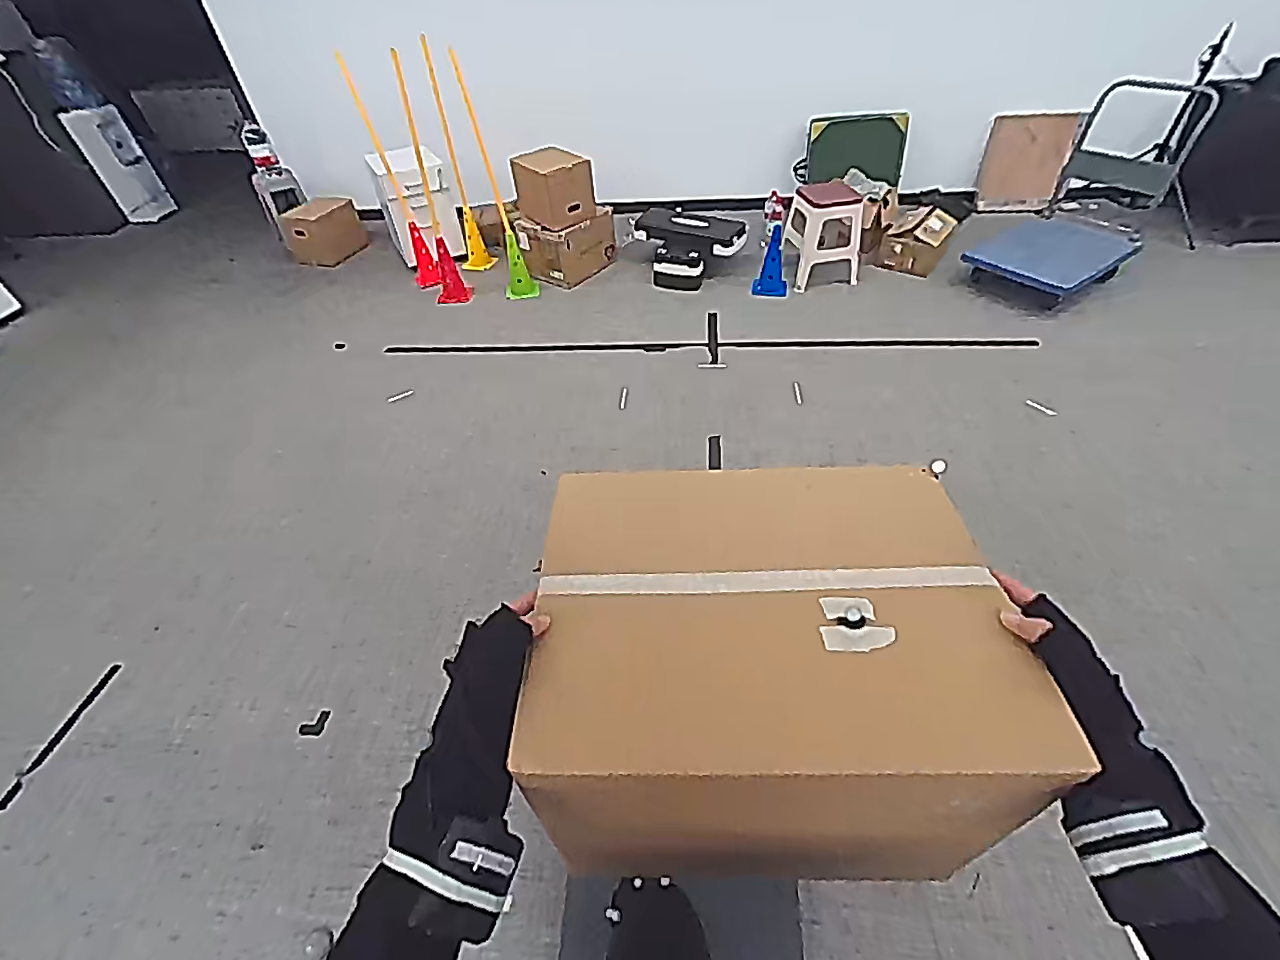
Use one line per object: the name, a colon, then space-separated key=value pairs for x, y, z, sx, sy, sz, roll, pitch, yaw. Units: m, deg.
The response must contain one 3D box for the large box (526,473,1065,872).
large box: x=0.118 y=0.212 z=0.603 sx=0.408 sy=0.320 sz=0.320 roll=-2 pitch=43 yaw=3
